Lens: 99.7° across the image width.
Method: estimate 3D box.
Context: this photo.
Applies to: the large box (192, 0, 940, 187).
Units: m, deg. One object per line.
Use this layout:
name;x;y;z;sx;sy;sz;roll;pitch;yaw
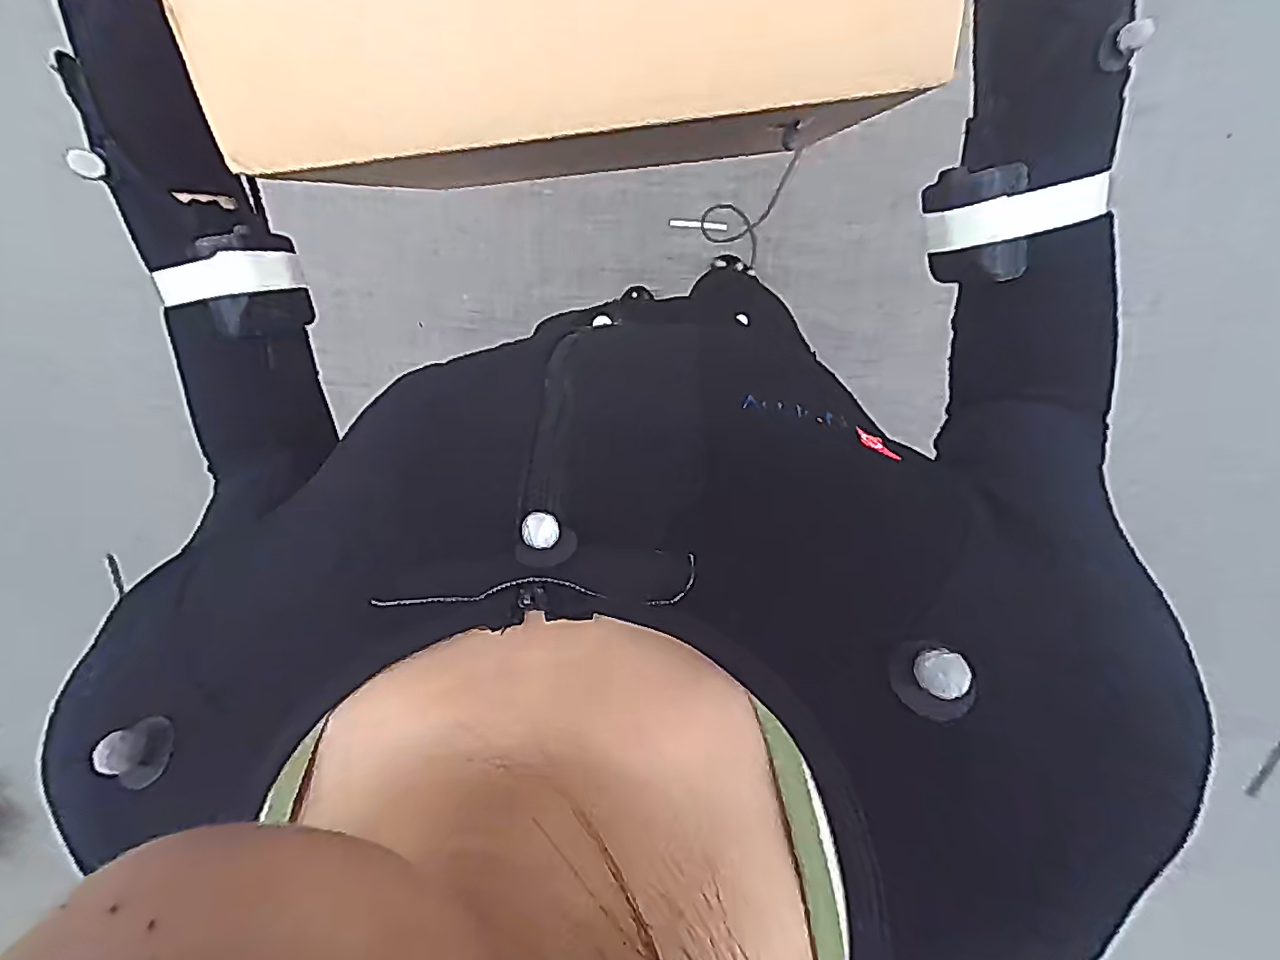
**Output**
large box;-0.047;-0.405;0.378;0.408;0.320;0.320;-5;116;5
